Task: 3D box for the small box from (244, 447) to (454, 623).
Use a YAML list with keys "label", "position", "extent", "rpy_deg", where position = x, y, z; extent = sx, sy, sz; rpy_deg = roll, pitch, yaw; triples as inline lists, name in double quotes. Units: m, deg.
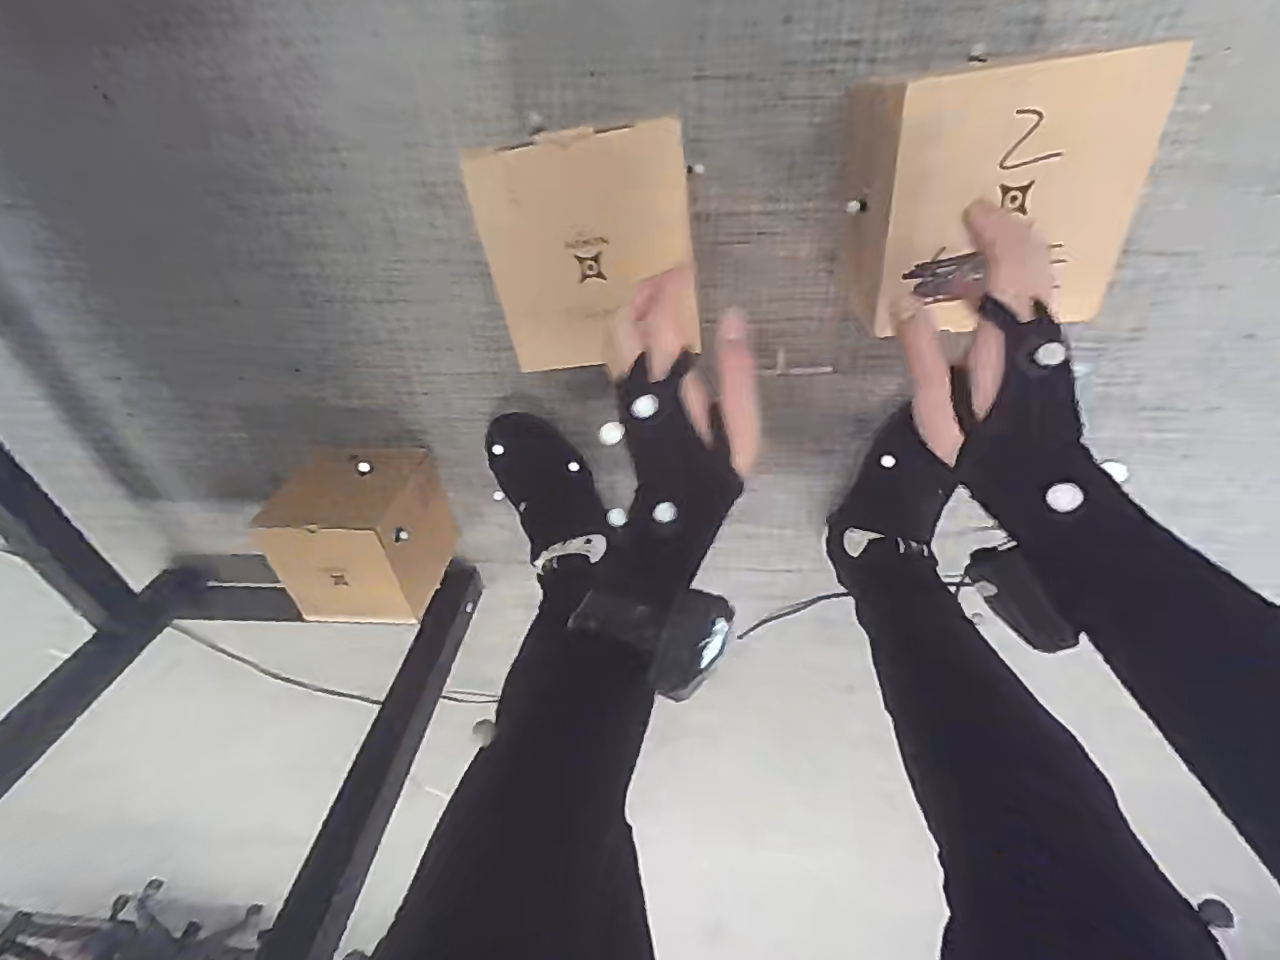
- label: "small box"
  position: [-0.379, 0.073, 0.748]
  extent: [0.168, 0.176, 0.179]
  rpy_deg: [0, 126, 6]
